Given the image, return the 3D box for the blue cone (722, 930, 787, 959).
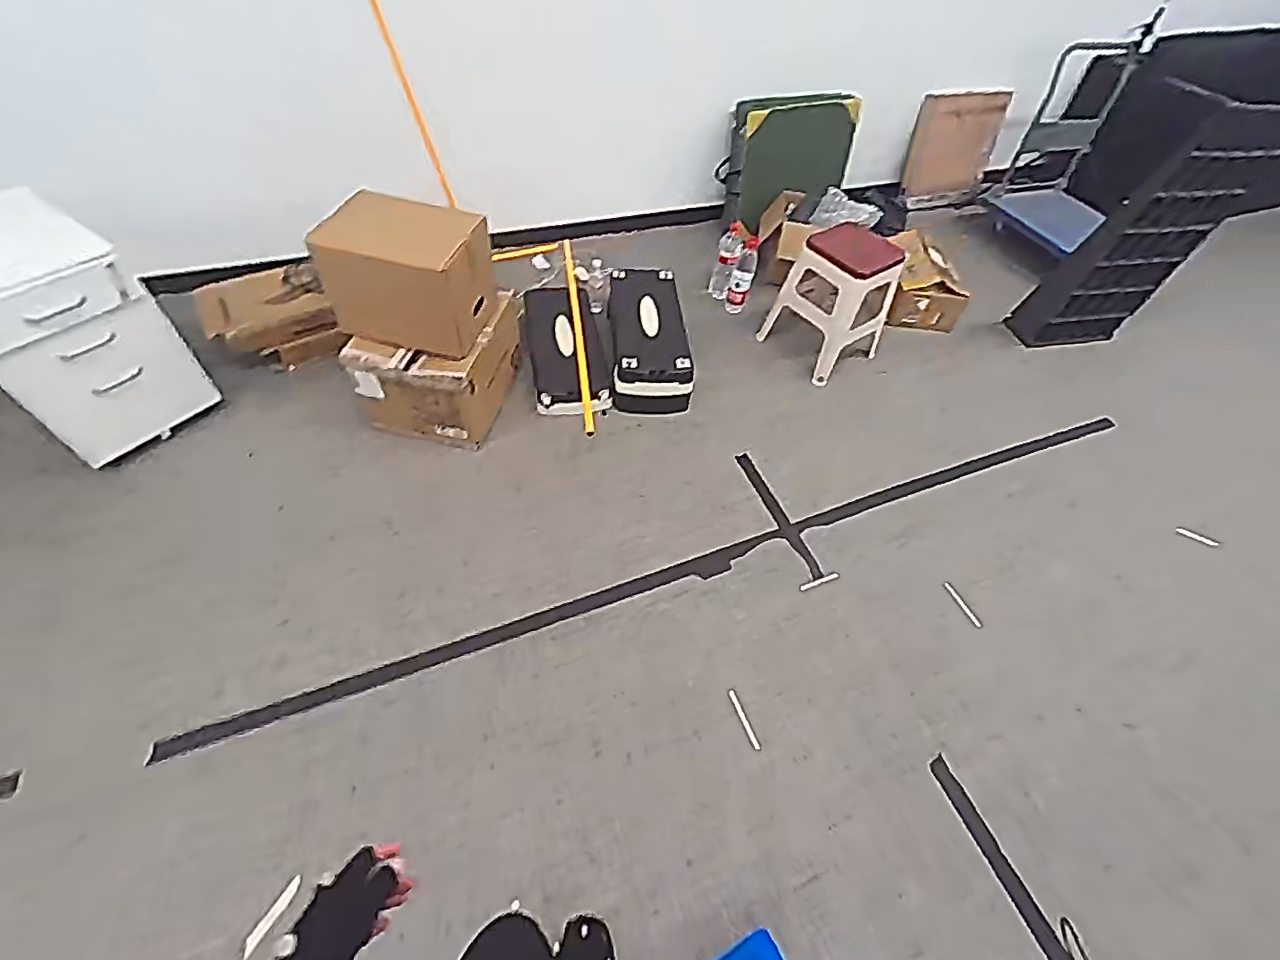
[{"bbox_3d":[0.240,0.927,0.926,0.192,0.380,0.193,-19,56,-19],"label":"blue cone"}]
